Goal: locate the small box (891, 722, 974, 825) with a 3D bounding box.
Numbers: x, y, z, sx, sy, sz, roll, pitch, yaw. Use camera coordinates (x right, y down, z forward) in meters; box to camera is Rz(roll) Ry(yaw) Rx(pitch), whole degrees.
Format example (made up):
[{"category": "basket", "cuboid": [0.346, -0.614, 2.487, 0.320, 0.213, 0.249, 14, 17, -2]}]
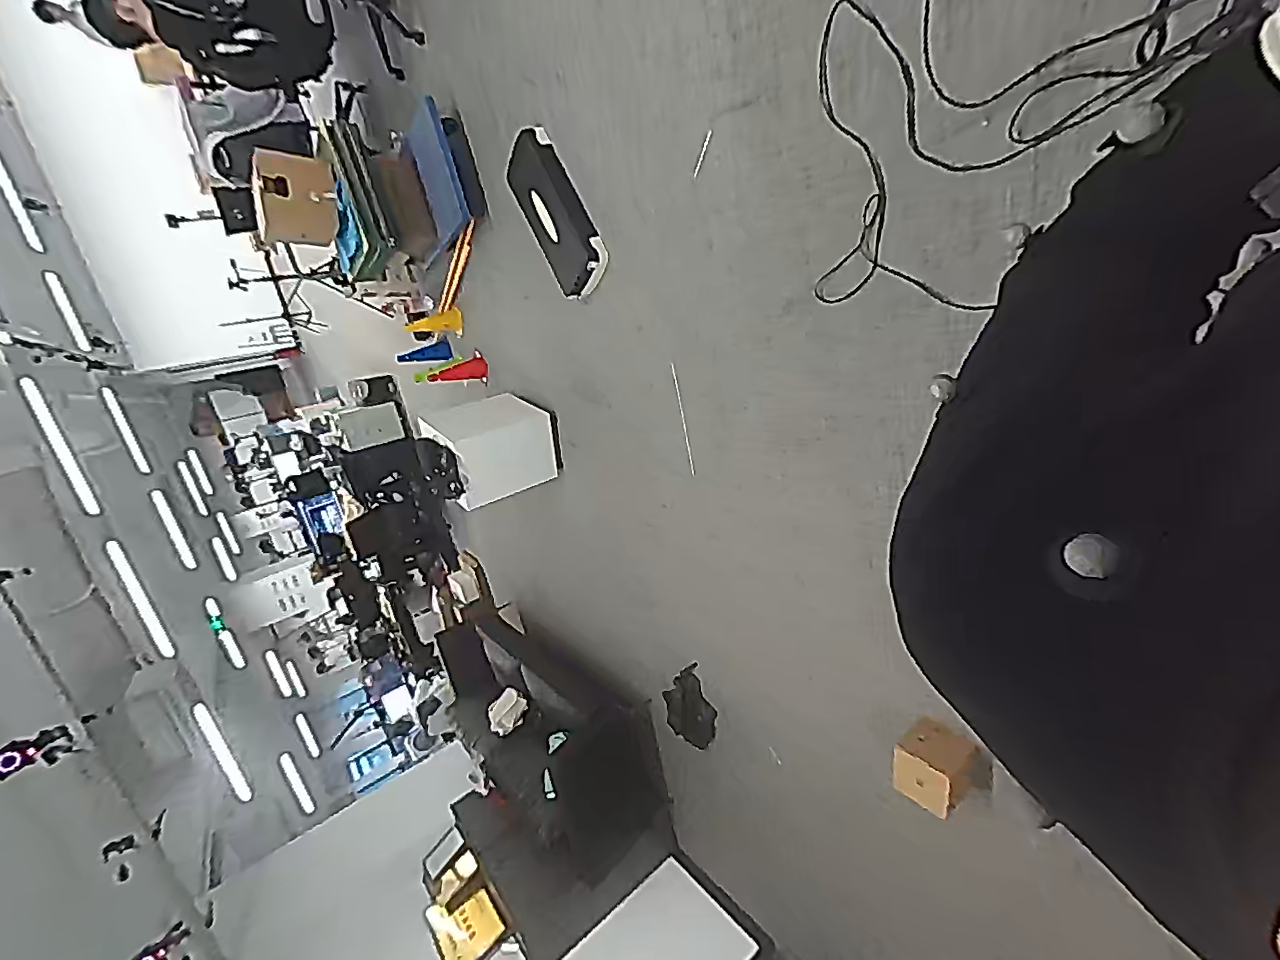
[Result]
[{"category": "small box", "cuboid": [0.882, 0.875, 1.631, 0.168, 0.176, 0.179, 18, 124, 51]}]
